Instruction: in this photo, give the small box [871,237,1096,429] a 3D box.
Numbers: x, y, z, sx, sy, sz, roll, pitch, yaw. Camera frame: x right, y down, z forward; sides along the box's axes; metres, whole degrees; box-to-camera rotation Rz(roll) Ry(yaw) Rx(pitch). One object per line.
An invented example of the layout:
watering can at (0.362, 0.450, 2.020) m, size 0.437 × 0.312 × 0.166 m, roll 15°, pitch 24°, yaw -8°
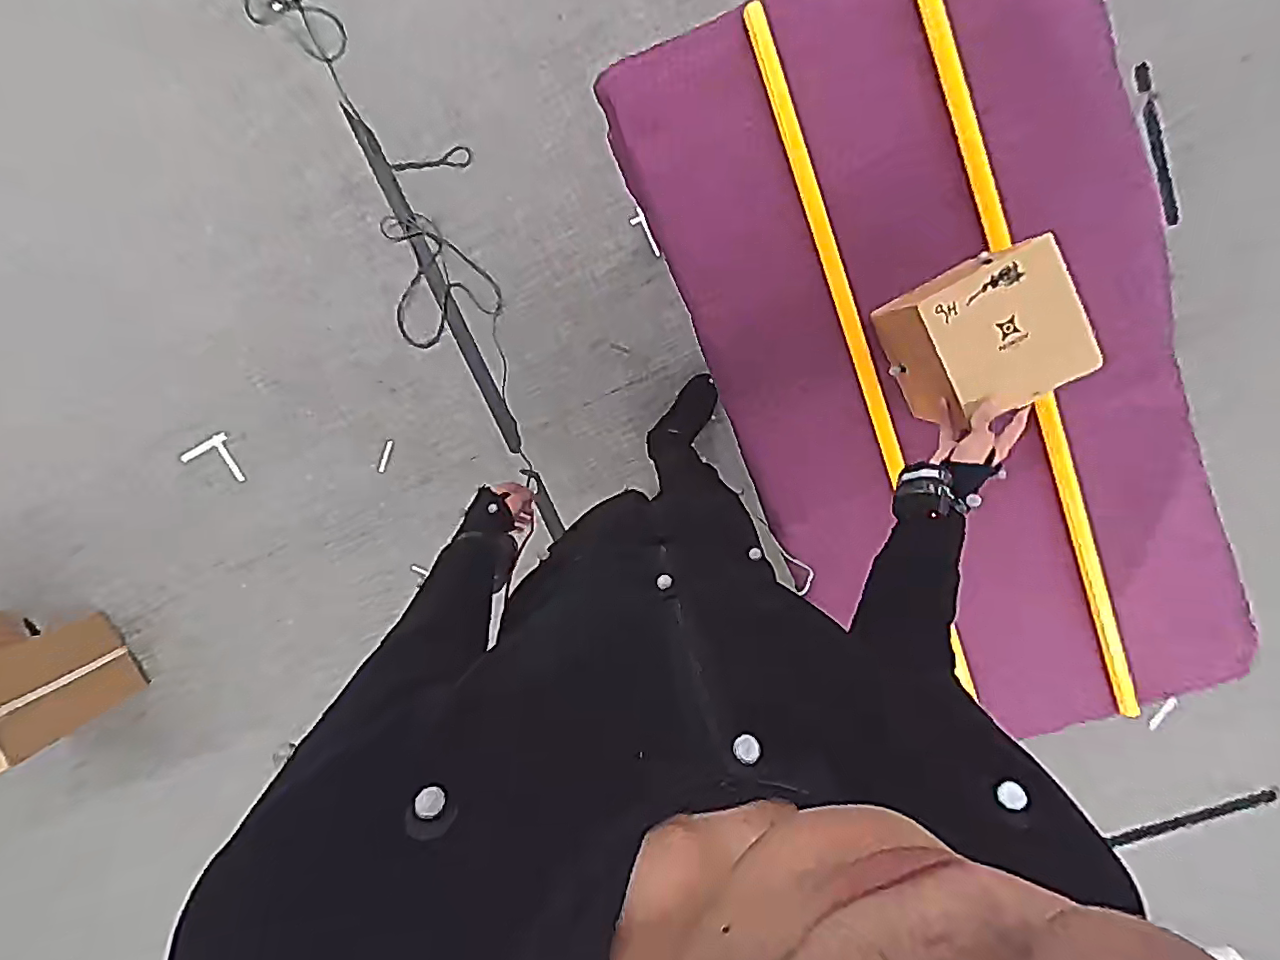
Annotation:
small box at (0.442, -0.190, 0.723) m, size 0.168 × 0.176 × 0.179 m, roll -27°, pitch 100°, yaw 9°
